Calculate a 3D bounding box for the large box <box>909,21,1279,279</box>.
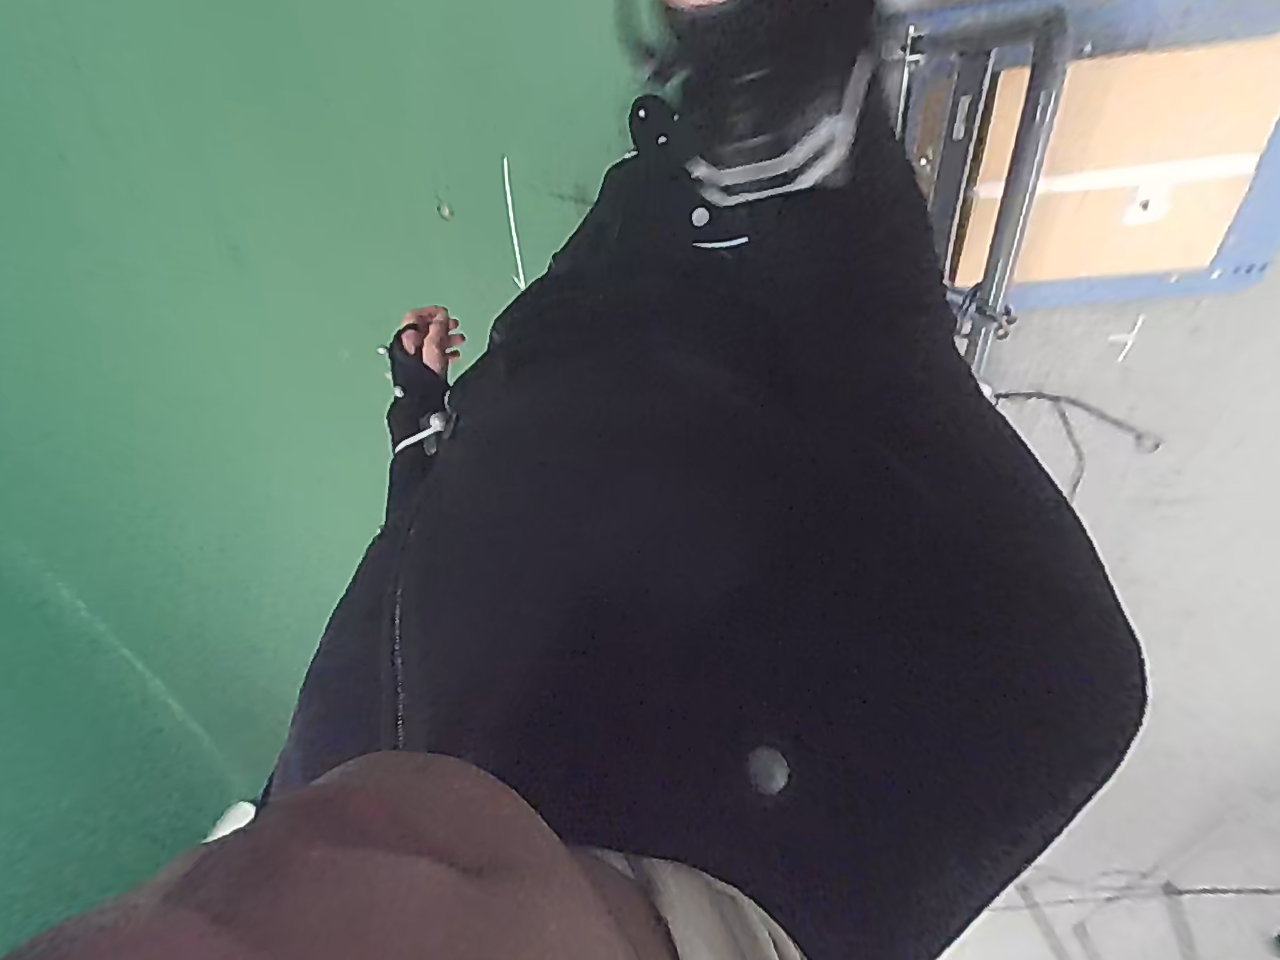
[{"bbox_3d":[0.754,-0.574,0.962,0.408,0.320,0.320,-3,126,8],"label":"large box"}]
